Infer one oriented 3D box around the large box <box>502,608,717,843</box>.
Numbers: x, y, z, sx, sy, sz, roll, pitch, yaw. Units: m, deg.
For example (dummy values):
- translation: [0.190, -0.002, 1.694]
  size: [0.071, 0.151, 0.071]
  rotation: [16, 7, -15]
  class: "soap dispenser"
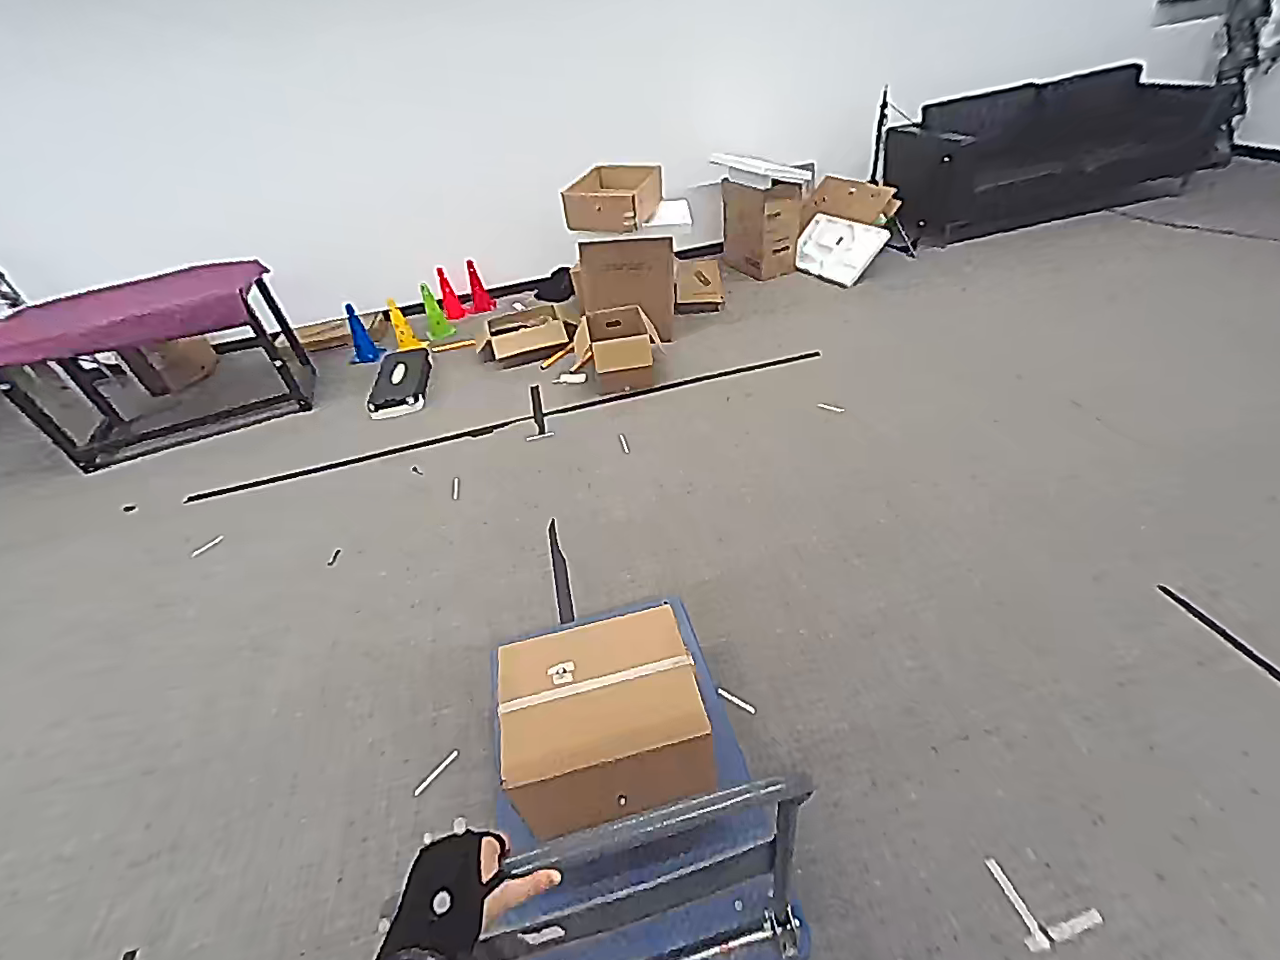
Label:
- translation: [-0.068, 0.551, 1.227]
  size: [0.408, 0.320, 0.320]
  rotation: [-14, 39, -5]
  class: "large box"
